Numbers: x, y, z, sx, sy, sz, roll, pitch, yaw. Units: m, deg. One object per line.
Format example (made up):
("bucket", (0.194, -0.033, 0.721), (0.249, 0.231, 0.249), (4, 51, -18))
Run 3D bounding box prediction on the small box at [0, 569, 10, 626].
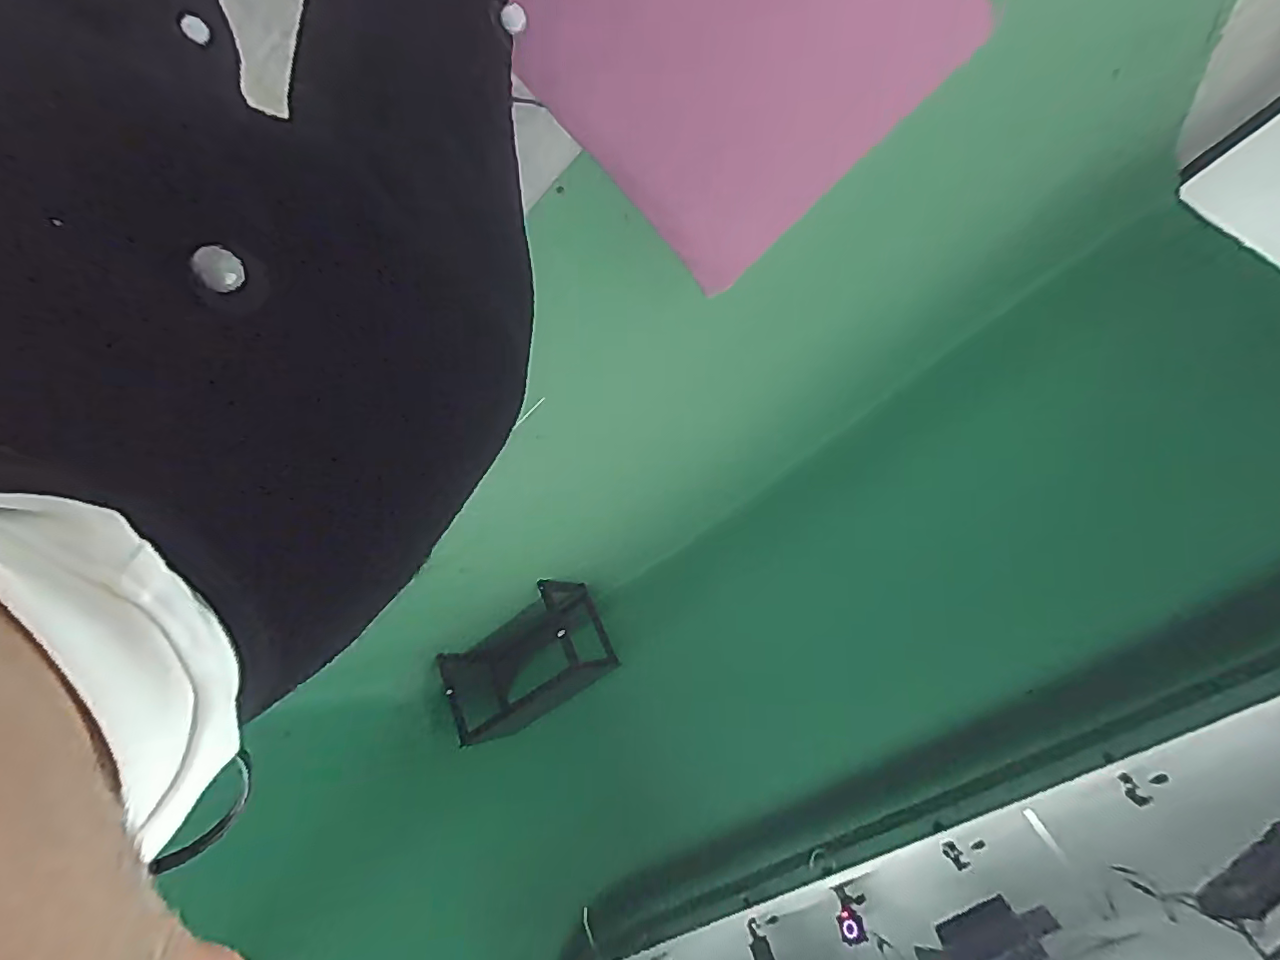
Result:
("small box", (-1.924, 0.359, 1.517), (0.179, 0.176, 0.168), (-39, 151, 18))
